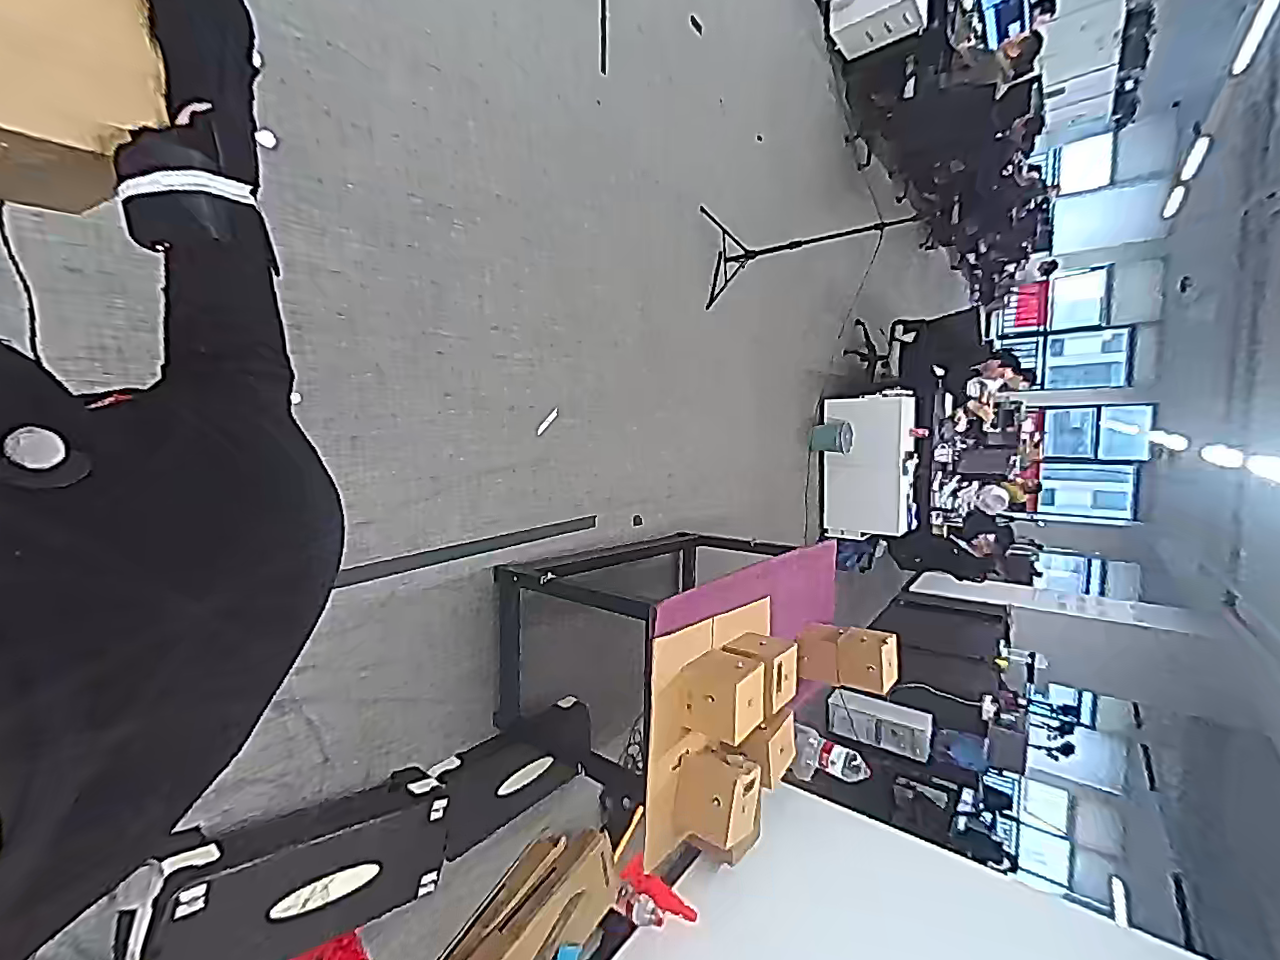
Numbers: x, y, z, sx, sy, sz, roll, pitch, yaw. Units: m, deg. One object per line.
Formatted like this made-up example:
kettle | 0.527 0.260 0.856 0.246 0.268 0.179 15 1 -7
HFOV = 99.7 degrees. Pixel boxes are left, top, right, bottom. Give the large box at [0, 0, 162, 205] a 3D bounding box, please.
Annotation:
large box | -0.582 -0.383 0.296 0.408 0.320 0.320 -11 110 -54
